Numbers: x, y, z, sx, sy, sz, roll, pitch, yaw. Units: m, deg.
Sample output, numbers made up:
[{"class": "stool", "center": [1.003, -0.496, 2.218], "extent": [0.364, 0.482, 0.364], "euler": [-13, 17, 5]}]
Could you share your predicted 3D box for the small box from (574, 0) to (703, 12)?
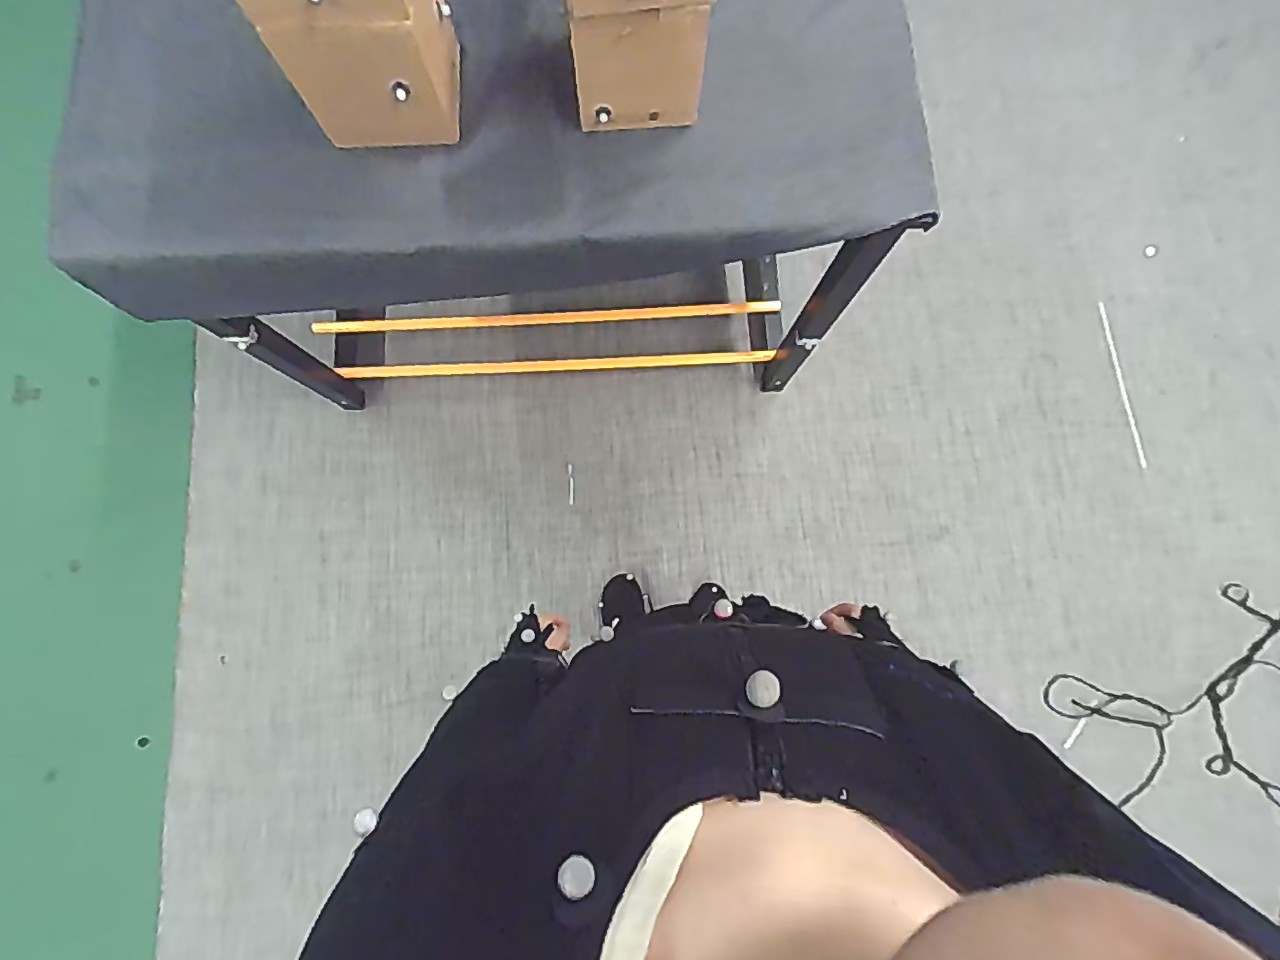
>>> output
[{"class": "small box", "center": [-0.007, -0.629, 0.543], "extent": [0.168, 0.176, 0.179], "euler": [-8, 80, -2]}]

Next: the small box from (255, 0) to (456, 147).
[{"class": "small box", "center": [-0.346, -0.562, 0.695], "extent": [0.179, 0.176, 0.168], "euler": [-4, 78, -1]}]

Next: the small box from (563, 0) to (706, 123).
[{"class": "small box", "center": [-0.011, -0.600, 0.705], "extent": [0.168, 0.176, 0.179], "euler": [-5, 78, -2]}]

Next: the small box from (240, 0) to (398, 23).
[{"class": "small box", "center": [-0.346, -0.601, 0.535], "extent": [0.179, 0.176, 0.168], "euler": [-5, 79, -2]}]
